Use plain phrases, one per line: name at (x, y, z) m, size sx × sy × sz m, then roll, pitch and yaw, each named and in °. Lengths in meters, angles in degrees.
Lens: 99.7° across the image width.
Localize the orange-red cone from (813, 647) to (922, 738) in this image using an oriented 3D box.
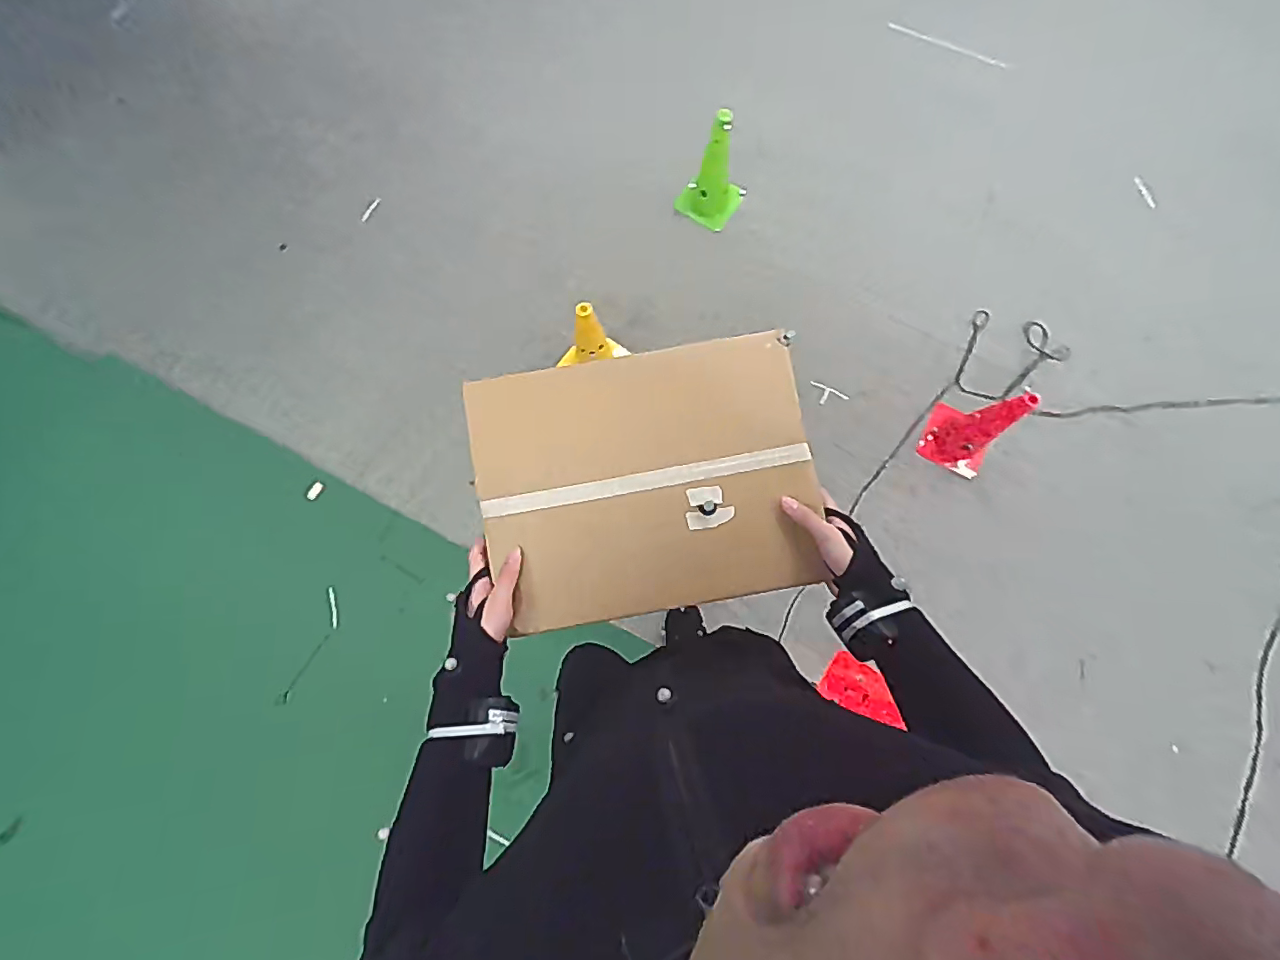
orange-red cone at (0.627, 0.581, 1.404) m, size 0.199 × 0.360 × 0.198 m, roll 34°, pitch 81°, yaw 6°

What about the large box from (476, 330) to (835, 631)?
large box at (0.014, 0.010, 0.811) m, size 0.408 × 0.320 × 0.320 m, roll -10°, pitch 86°, yaw -2°

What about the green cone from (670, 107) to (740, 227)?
green cone at (0.230, -1.055, 1.770) m, size 0.200 × 0.368 × 0.202 m, roll 32°, pitch 81°, yaw 7°
